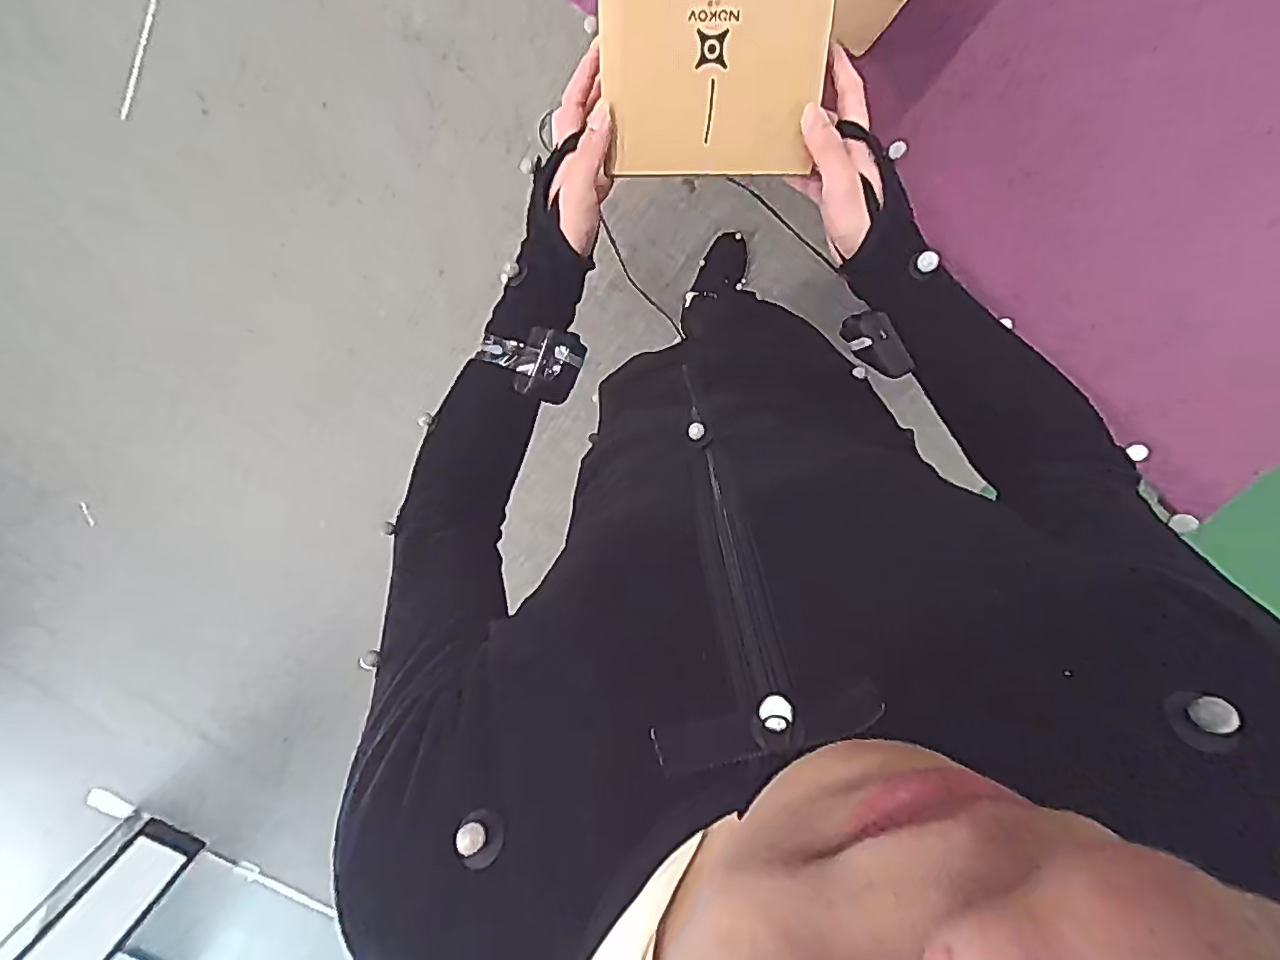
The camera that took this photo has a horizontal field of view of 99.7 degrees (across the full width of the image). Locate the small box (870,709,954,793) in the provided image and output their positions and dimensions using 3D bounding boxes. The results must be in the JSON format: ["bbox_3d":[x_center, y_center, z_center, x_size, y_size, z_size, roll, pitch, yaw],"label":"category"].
[{"bbox_3d":[0.945,0.946,1.896,0.179,0.176,0.168,38,111,-10],"label":"small box"}]

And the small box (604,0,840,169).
[{"bbox_3d":[0.056,-0.360,0.445,0.168,0.176,0.179,1,120,0],"label":"small box"}]

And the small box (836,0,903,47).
[{"bbox_3d":[0.245,-0.600,0.549,0.168,0.176,0.179,33,111,-8],"label":"small box"}]
